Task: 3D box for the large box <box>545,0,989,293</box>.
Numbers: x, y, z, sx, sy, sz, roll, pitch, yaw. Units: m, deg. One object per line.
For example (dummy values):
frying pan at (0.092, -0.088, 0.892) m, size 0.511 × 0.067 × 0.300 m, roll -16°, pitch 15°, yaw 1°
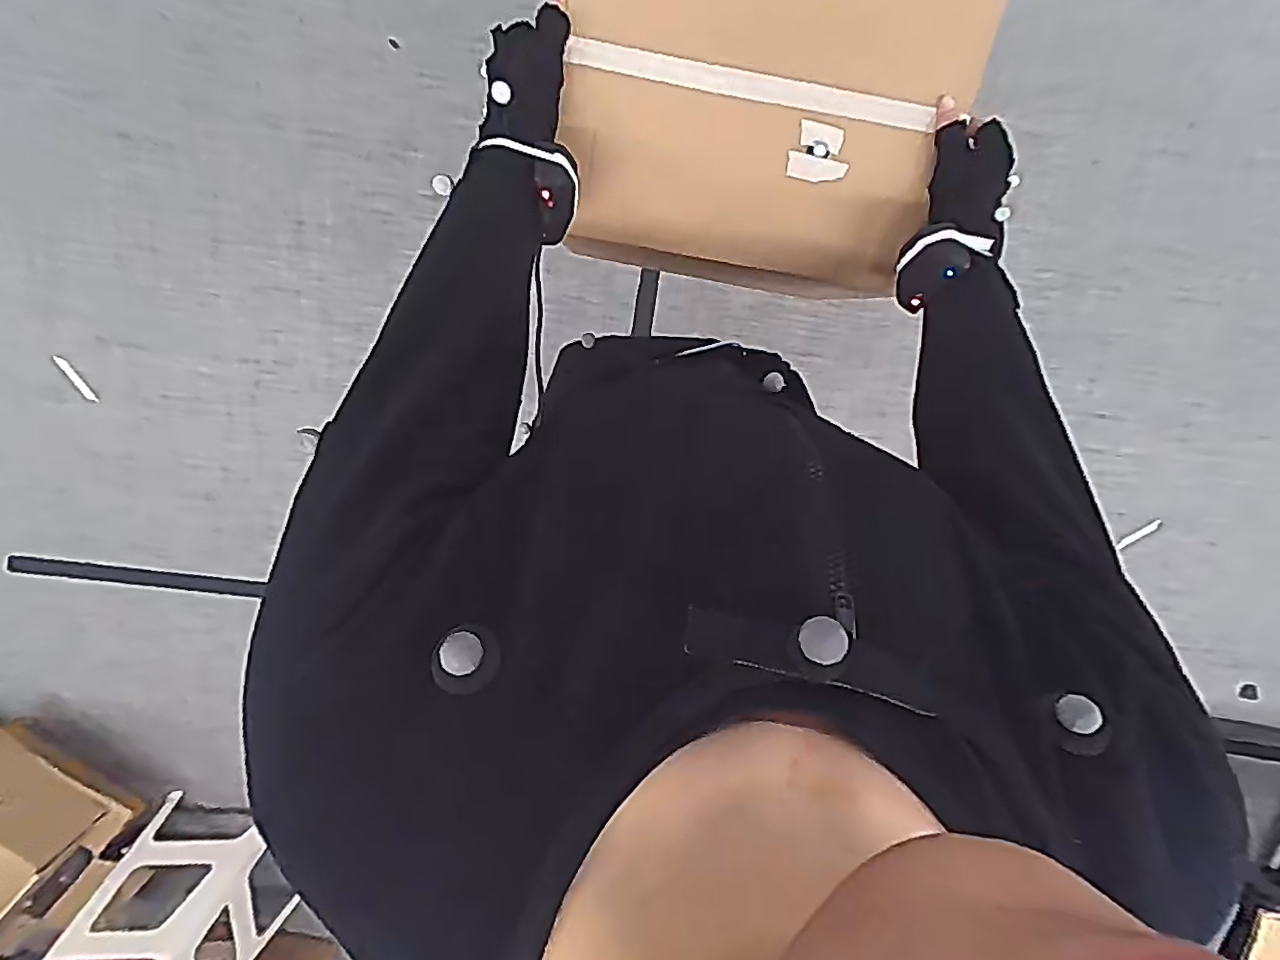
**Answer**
large box at (0.114, -0.426, 0.674) m, size 0.408 × 0.320 × 0.320 m, roll 9°, pitch 109°, yaw -4°
